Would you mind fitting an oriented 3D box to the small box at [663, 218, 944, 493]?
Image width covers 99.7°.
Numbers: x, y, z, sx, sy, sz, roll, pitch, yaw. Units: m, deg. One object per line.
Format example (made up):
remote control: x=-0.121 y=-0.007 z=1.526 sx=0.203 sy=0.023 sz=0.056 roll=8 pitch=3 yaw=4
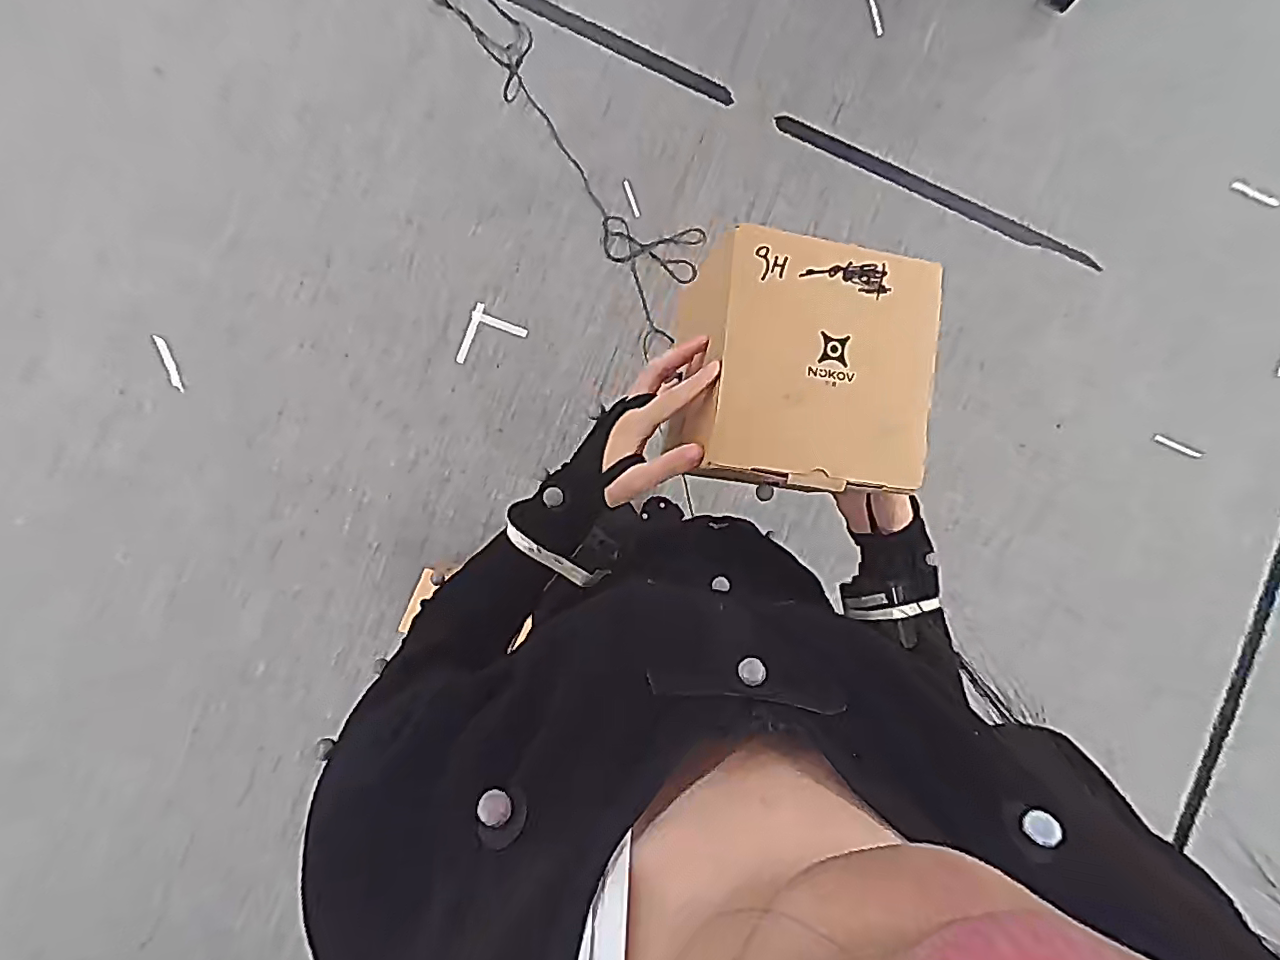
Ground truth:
small box: x=0.122 y=-0.087 z=0.466 sx=0.168 sy=0.176 sz=0.179 roll=7 pitch=89 yaw=-10
